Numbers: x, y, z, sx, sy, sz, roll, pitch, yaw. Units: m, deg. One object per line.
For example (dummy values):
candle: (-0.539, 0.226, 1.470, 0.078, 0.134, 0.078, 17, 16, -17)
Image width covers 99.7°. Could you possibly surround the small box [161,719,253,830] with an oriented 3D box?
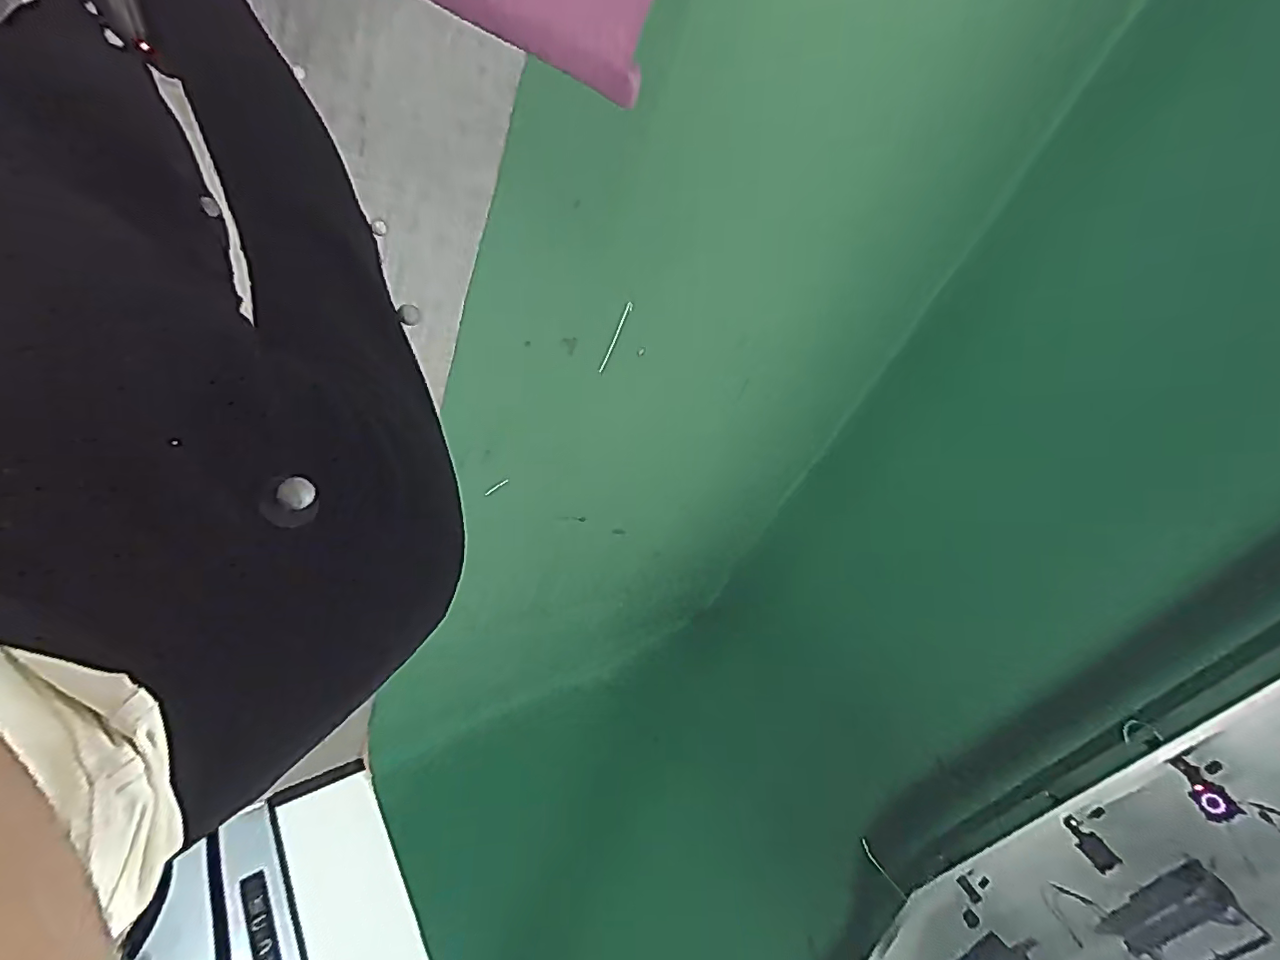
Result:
small box: (-1.153, 0.774, 1.438, 0.168, 0.176, 0.179, -4, 133, -47)
